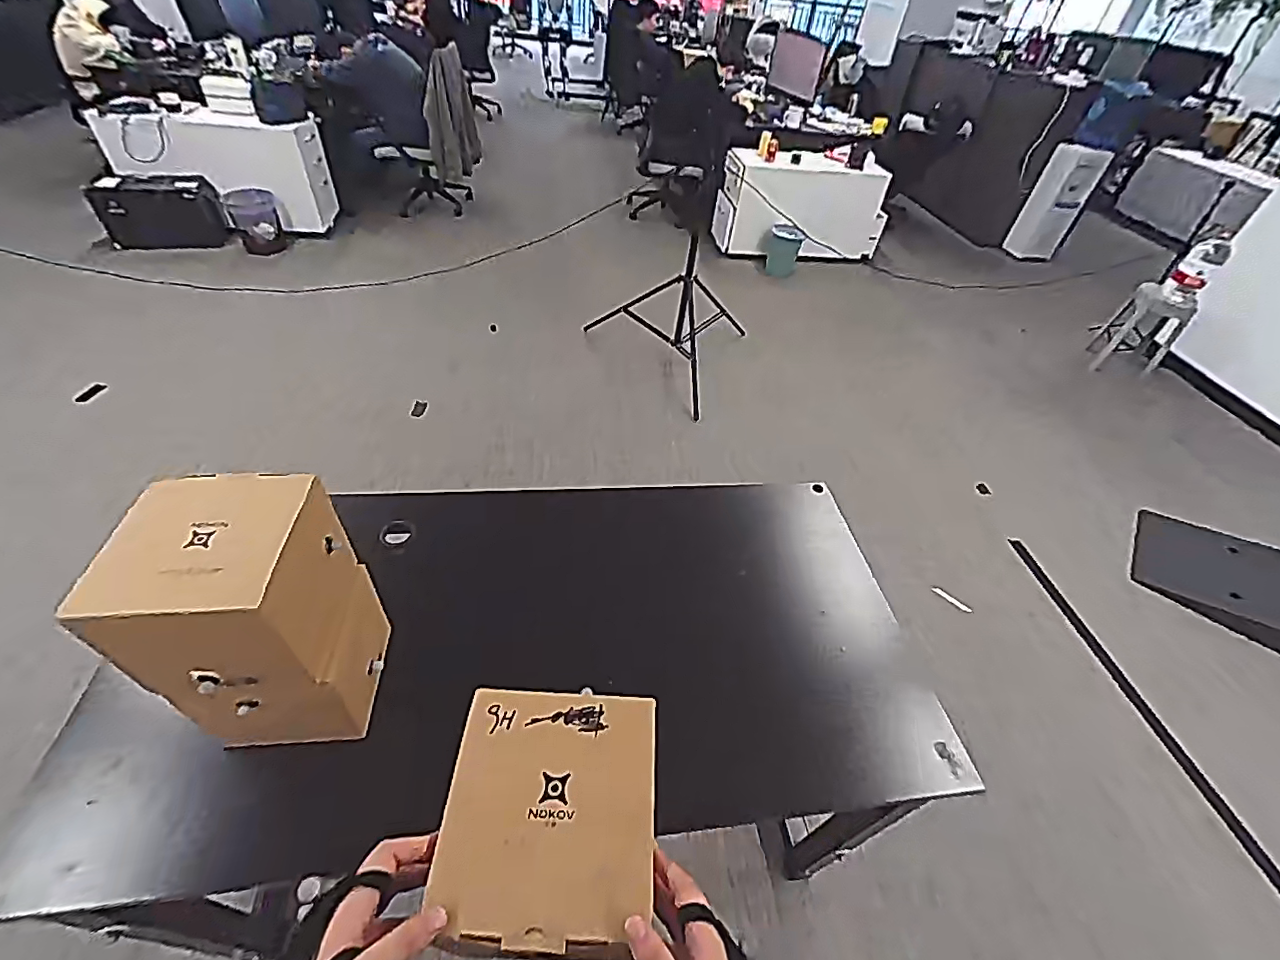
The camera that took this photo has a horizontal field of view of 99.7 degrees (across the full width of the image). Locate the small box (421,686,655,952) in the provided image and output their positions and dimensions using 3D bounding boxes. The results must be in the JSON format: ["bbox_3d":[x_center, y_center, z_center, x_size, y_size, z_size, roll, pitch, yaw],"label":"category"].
[{"bbox_3d":[-0.074,0.310,0.494,0.168,0.176,0.179,4,46,-1],"label":"small box"}]

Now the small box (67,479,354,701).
[{"bbox_3d":[-0.436,0.119,0.594,0.168,0.176,0.179,-2,46,-8],"label":"small box"}]

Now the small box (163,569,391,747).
[{"bbox_3d":[-0.450,0.234,0.708,0.179,0.176,0.168,0,44,-9],"label":"small box"}]
